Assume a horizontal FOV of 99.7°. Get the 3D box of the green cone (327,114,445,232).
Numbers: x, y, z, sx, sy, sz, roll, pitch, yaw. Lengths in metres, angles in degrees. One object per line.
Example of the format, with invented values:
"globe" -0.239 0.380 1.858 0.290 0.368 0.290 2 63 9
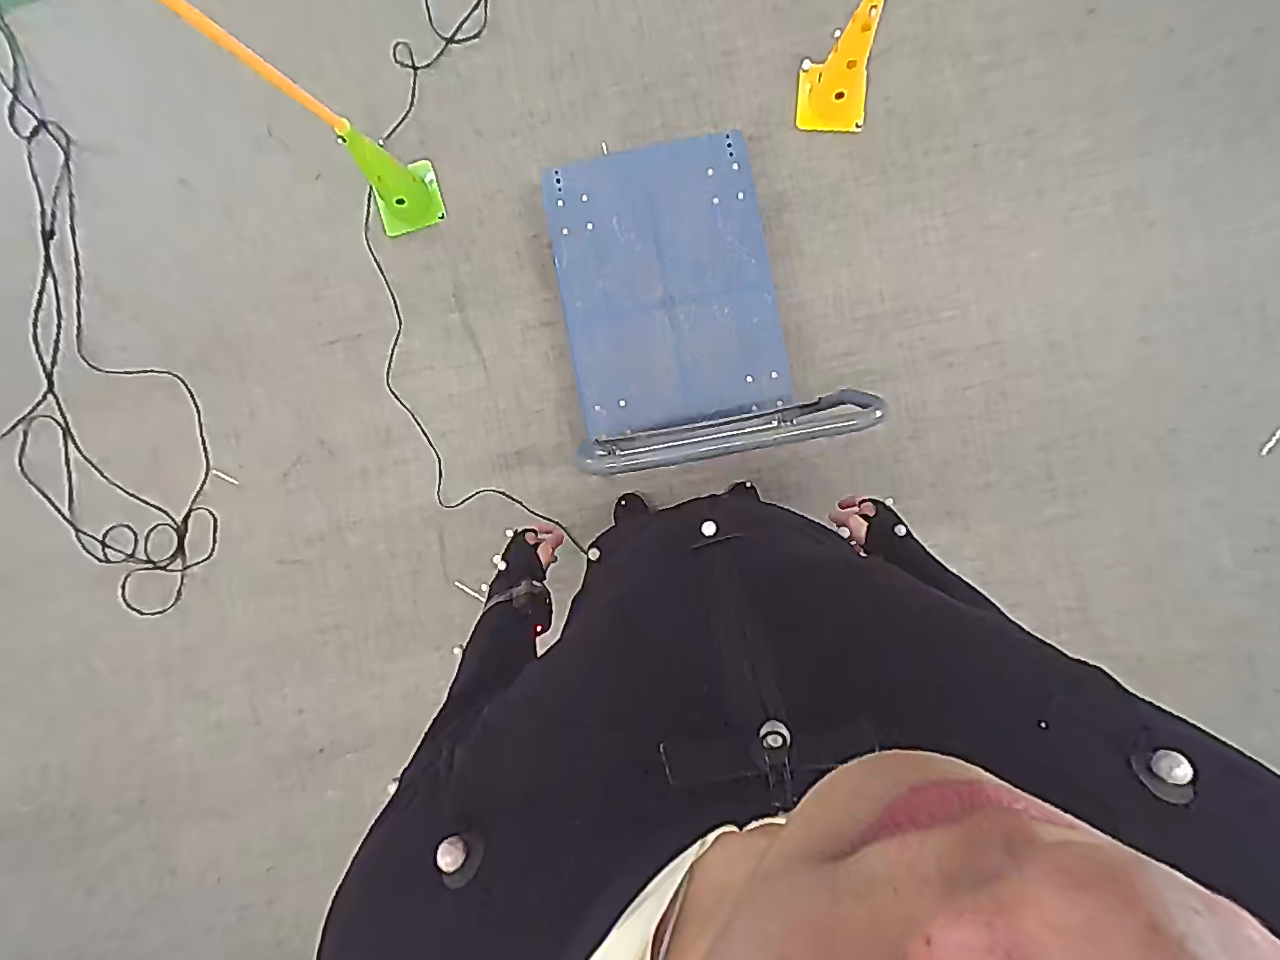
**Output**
"green cone" -0.735 -0.892 1.512 0.202 0.368 0.200 -17 89 5
